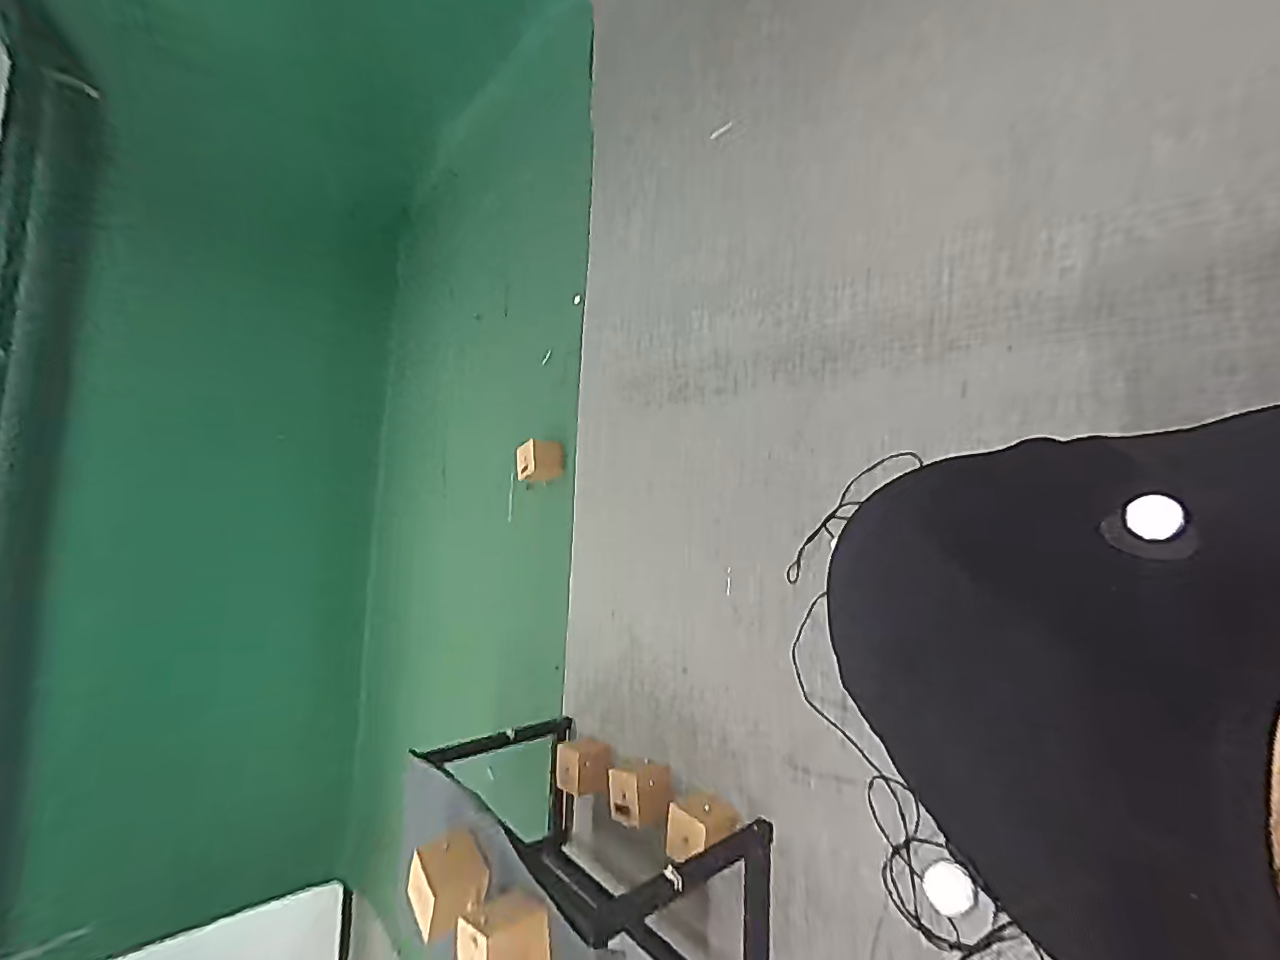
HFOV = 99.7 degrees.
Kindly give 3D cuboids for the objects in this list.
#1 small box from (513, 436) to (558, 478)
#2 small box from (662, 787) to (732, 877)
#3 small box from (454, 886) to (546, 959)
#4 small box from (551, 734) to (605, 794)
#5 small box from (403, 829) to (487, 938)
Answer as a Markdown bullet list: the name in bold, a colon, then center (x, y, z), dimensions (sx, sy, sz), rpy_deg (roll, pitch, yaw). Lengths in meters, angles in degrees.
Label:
- **small box**: center (-0.539, -0.111, 2.795), dimensions (0.168, 0.176, 0.179), rpy_deg (-24, 67, 44)
- **small box**: center (0.196, 1.177, 1.828), dimensions (0.168, 0.176, 0.179), rpy_deg (4, 89, 48)
- **small box**: center (-0.342, 1.154, 1.332), dimensions (0.168, 0.176, 0.179), rpy_deg (-20, 70, 45)
- **small box**: center (-0.264, 1.214, 2.327), dimensions (0.168, 0.176, 0.179), rpy_deg (-10, 78, 48)
- **small box**: center (-0.575, 1.170, 1.590), dimensions (0.179, 0.176, 0.168), rpy_deg (26, 108, 45)
